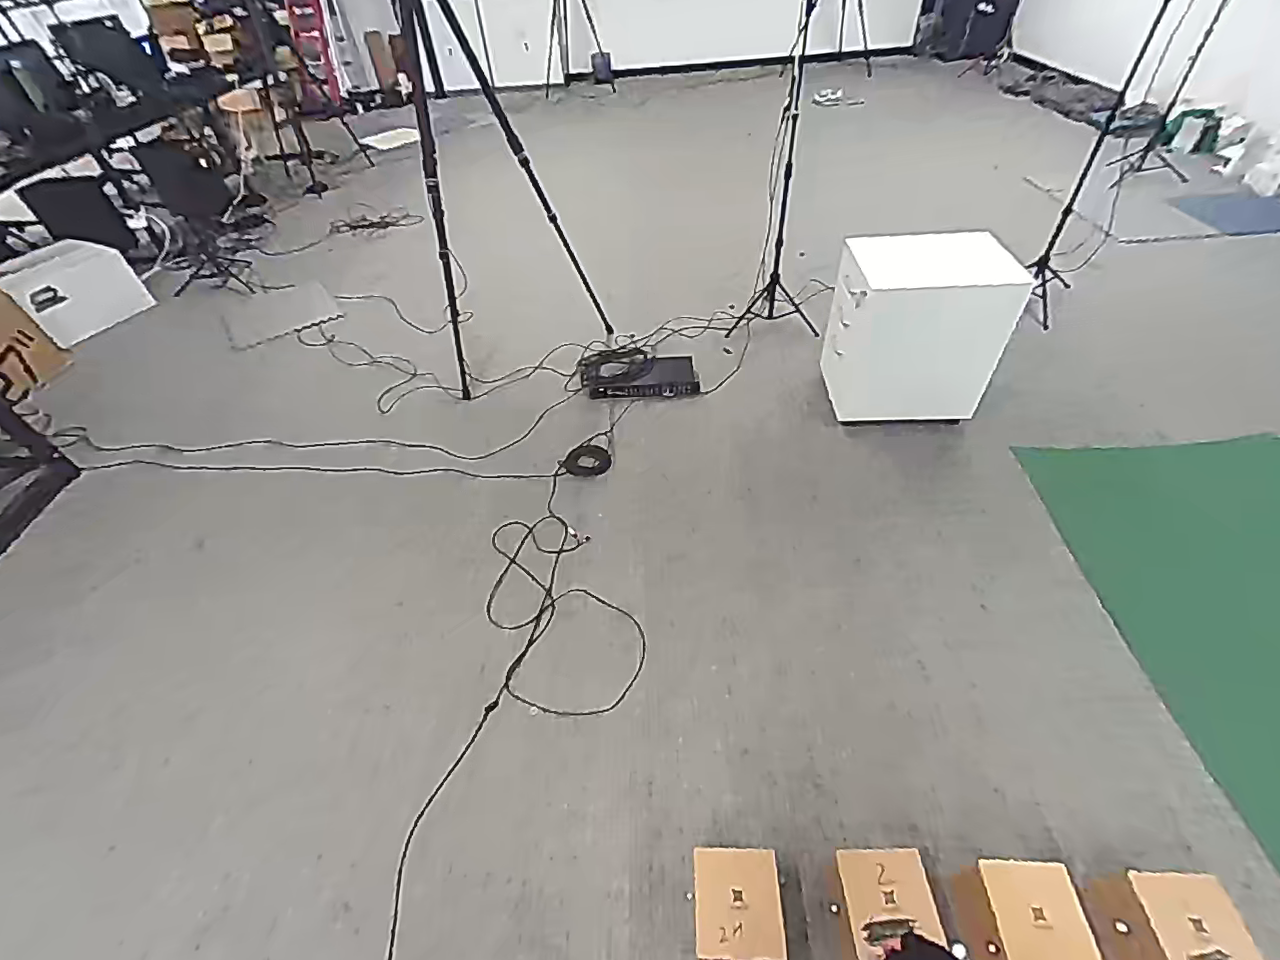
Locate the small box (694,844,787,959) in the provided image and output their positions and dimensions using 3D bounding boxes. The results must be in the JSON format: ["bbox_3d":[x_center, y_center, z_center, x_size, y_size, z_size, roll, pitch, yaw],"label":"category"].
[{"bbox_3d":[0.194,0.861,1.096,0.168,0.176,0.179,-1,47,5],"label":"small box"}]

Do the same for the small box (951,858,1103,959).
[{"bbox_3d":[0.742,0.862,1.054,0.168,0.176,0.179,0,47,4],"label":"small box"}]

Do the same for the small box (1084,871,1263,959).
[{"bbox_3d":[1.009,0.867,1.028,0.168,0.176,0.179,-1,46,4],"label":"small box"}]
